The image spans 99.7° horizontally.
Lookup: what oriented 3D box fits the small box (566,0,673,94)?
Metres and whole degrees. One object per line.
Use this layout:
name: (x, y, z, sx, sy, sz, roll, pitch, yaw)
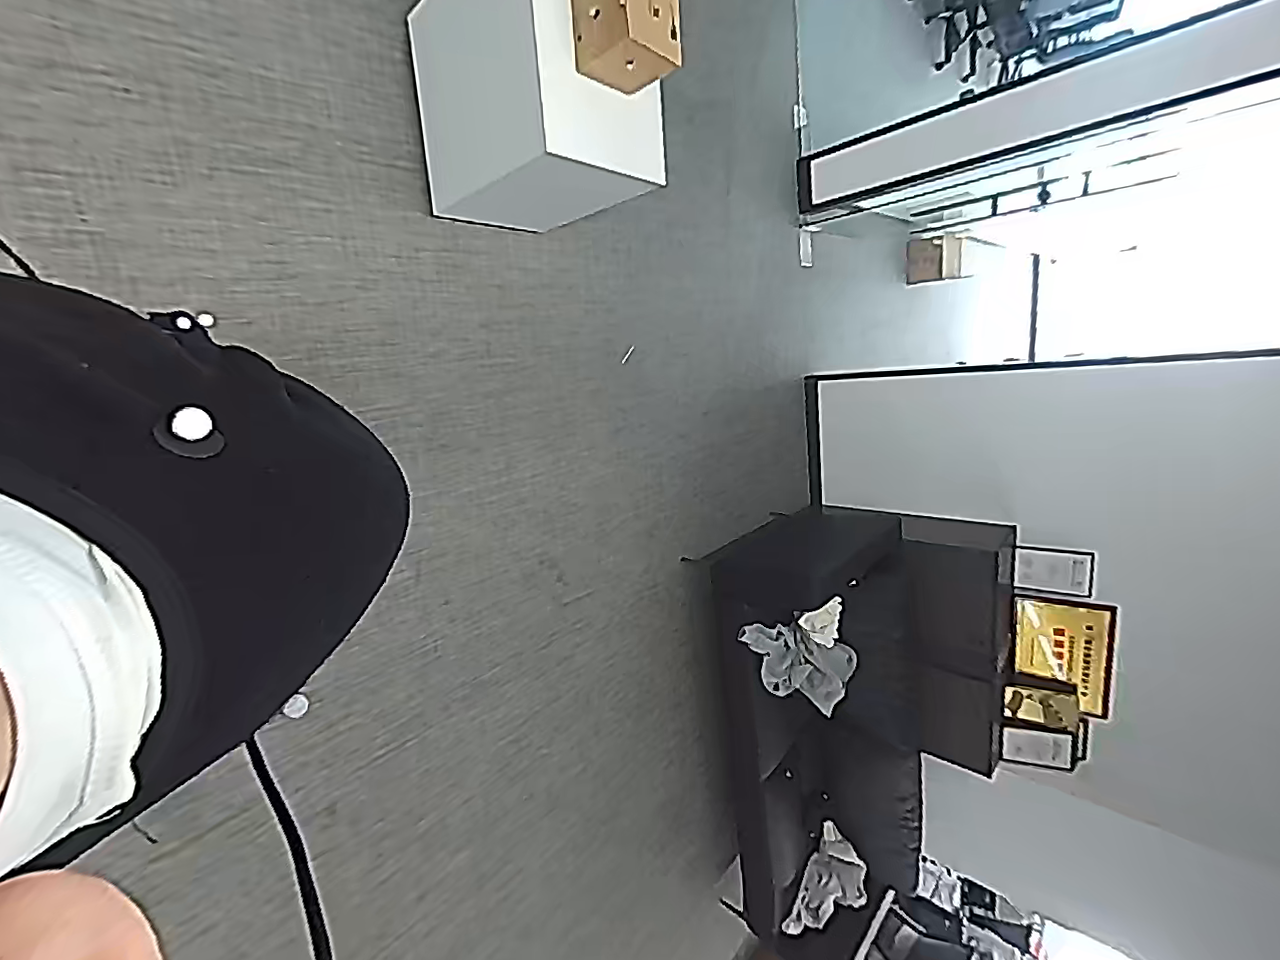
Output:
small box: (-0.051, -1.009, 1.217, 0.179, 0.176, 0.168, -19, 108, -45)
